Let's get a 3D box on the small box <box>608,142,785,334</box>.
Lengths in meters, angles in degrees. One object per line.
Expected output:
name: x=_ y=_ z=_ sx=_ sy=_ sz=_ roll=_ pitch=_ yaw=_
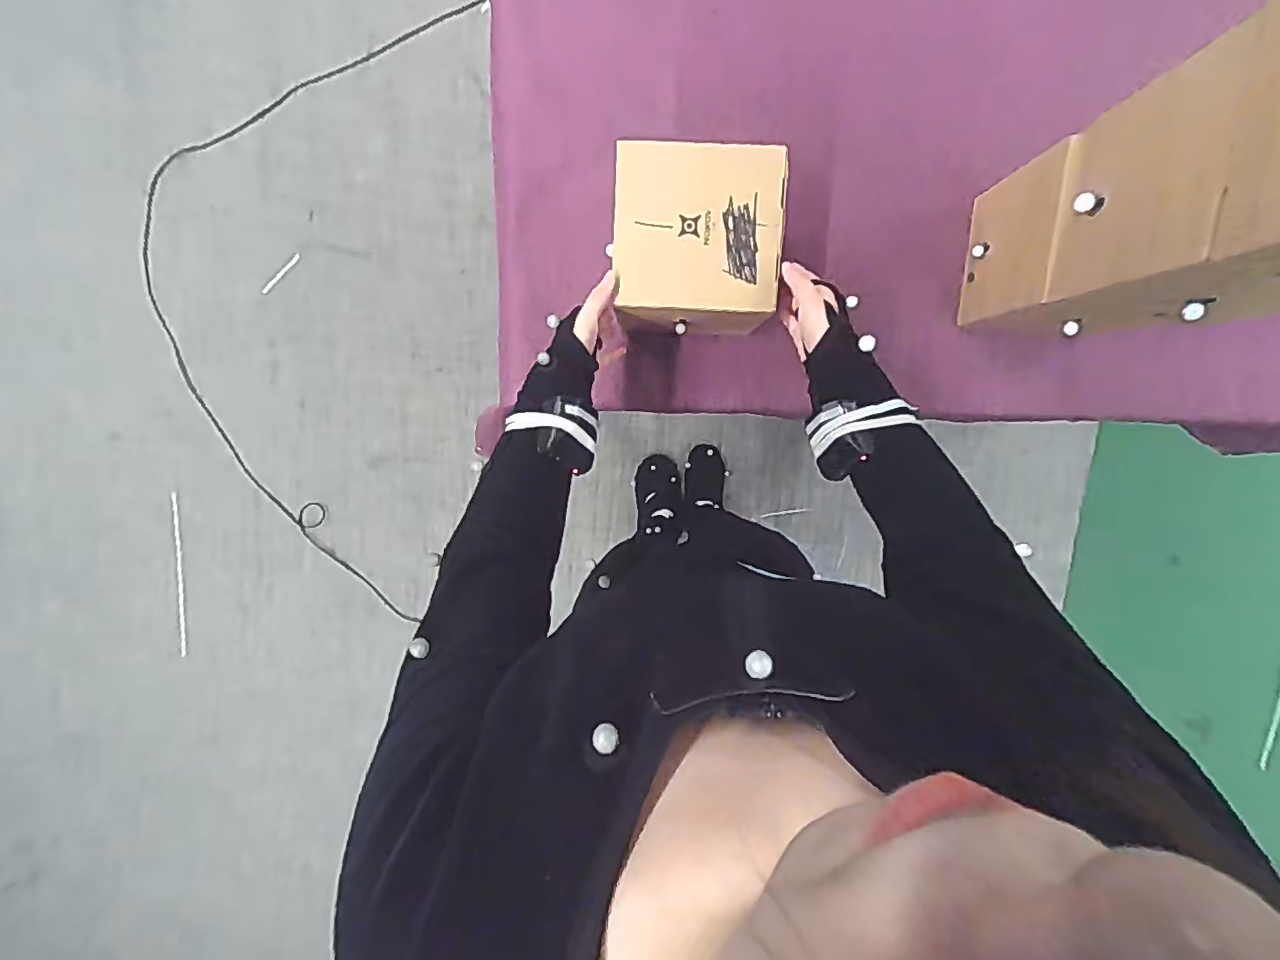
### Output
small box: x=0.058 y=-0.269 z=0.639 sx=0.179 sy=0.176 sz=0.168 roll=3 pitch=97 yaw=2

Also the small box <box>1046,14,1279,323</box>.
small box: x=0.502 y=-0.241 z=0.468 sx=0.168 sy=0.176 sz=0.179 roll=8 pitch=98 yaw=0
